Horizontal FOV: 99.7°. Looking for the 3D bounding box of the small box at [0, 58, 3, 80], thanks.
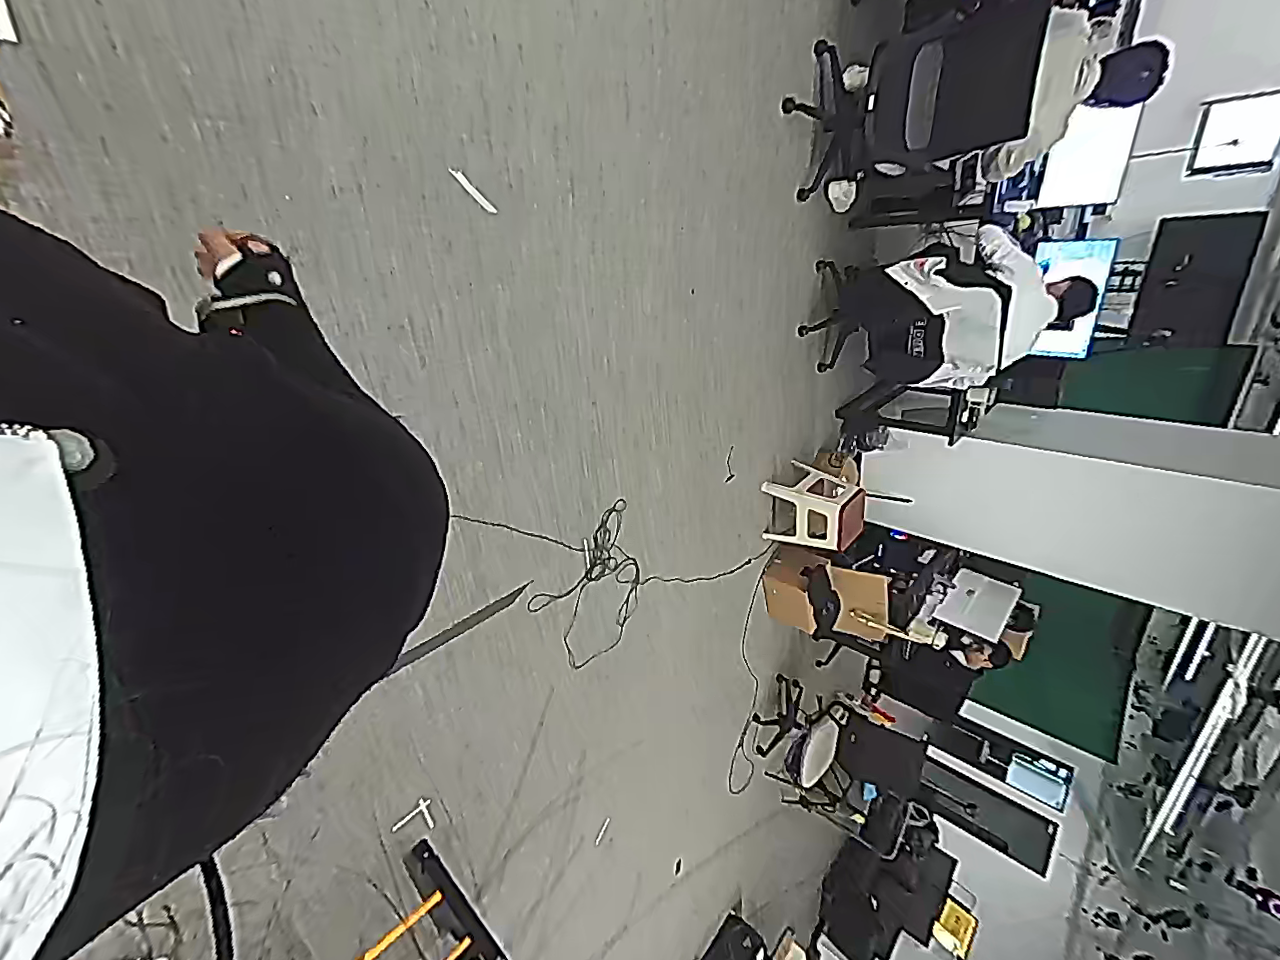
[{"bbox_3d":[-0.746,-0.468,0.490,0.179,0.176,0.168,-26,123,-43],"label":"small box"}]
